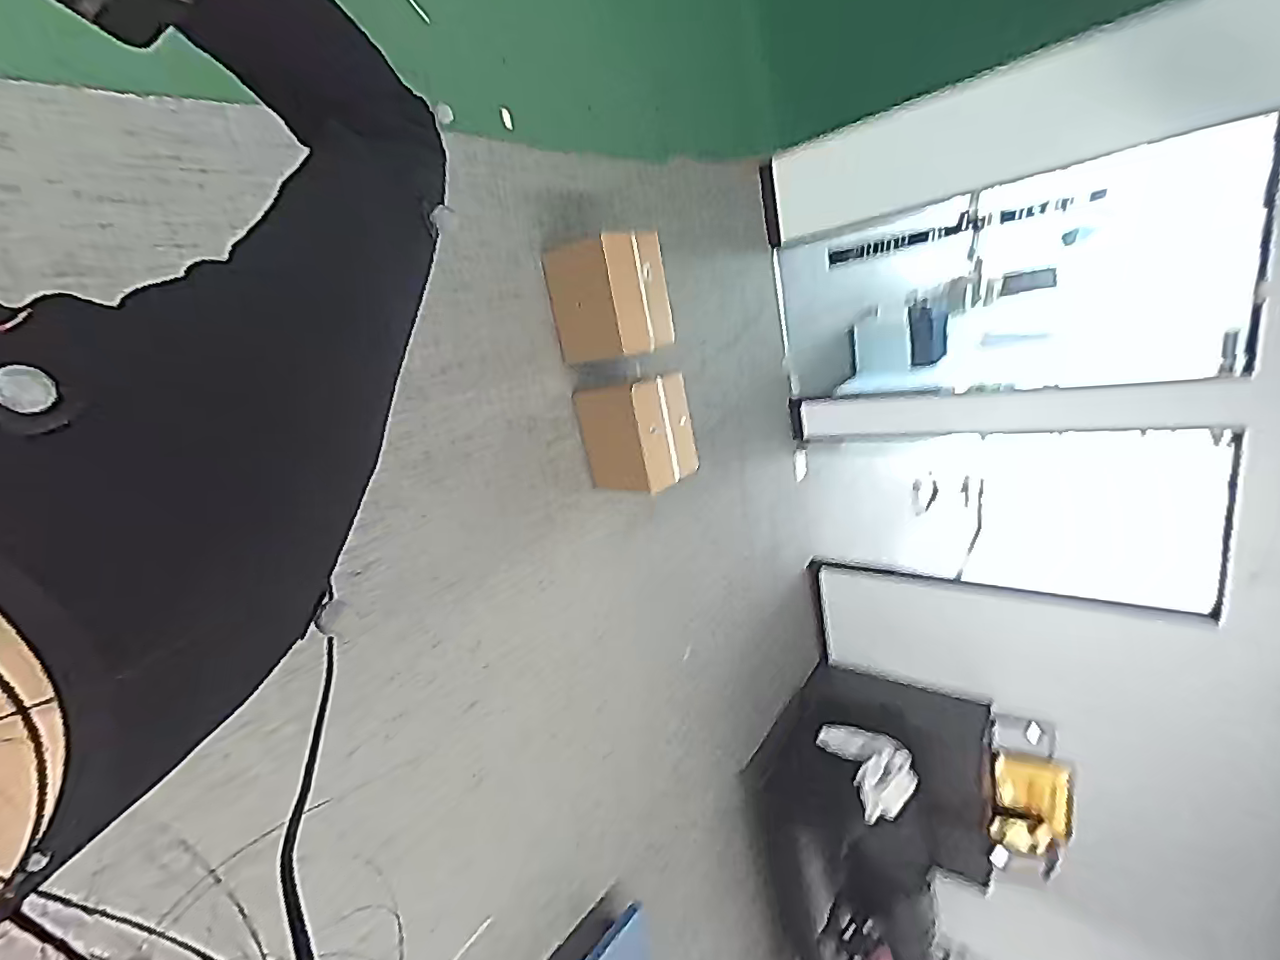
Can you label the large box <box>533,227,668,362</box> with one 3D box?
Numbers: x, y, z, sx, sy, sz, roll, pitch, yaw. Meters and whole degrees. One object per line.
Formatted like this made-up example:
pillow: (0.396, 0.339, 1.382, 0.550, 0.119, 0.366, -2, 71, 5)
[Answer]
large box: (-0.142, -0.681, 2.005, 0.320, 0.320, 0.408, -29, 112, -46)
